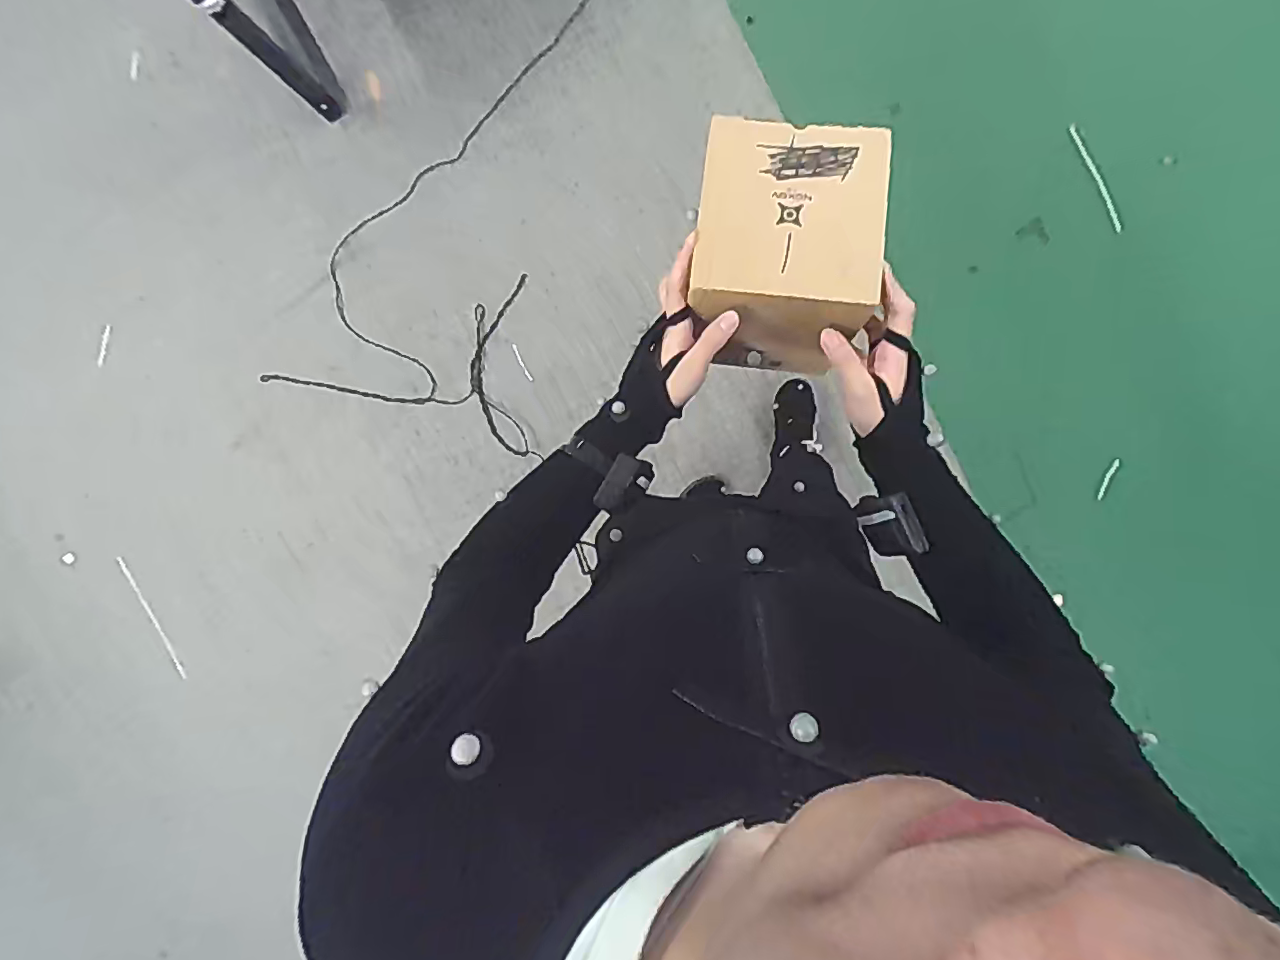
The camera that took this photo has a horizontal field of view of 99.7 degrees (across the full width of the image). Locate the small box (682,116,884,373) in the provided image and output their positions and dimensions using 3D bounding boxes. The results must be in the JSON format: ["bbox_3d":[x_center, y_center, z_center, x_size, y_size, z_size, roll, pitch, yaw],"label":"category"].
[{"bbox_3d":[0.135,-0.230,0.561,0.168,0.176,0.179,7,81,5],"label":"small box"}]
